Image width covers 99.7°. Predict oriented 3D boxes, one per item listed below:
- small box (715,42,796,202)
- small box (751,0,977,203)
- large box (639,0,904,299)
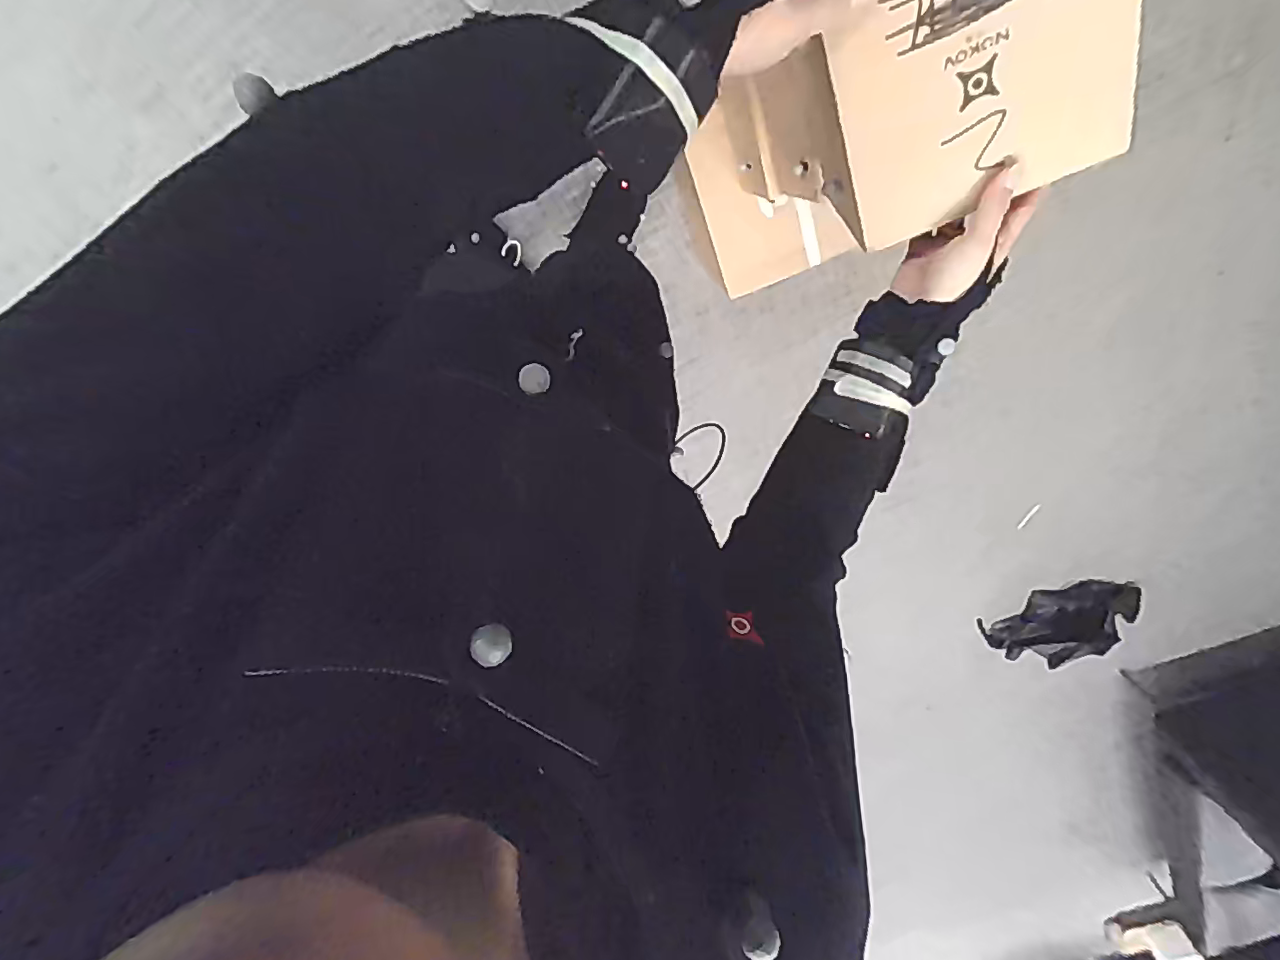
[{"bbox_3d":[0.214,-0.507,0.736,0.168,0.176,0.179,-21,120,7],"label":"small box"},{"bbox_3d":[0.235,-0.432,0.594,0.168,0.176,0.179,-21,122,8],"label":"small box"},{"bbox_3d":[0.221,-0.606,0.962,0.320,0.320,0.408,-20,122,10],"label":"large box"}]
